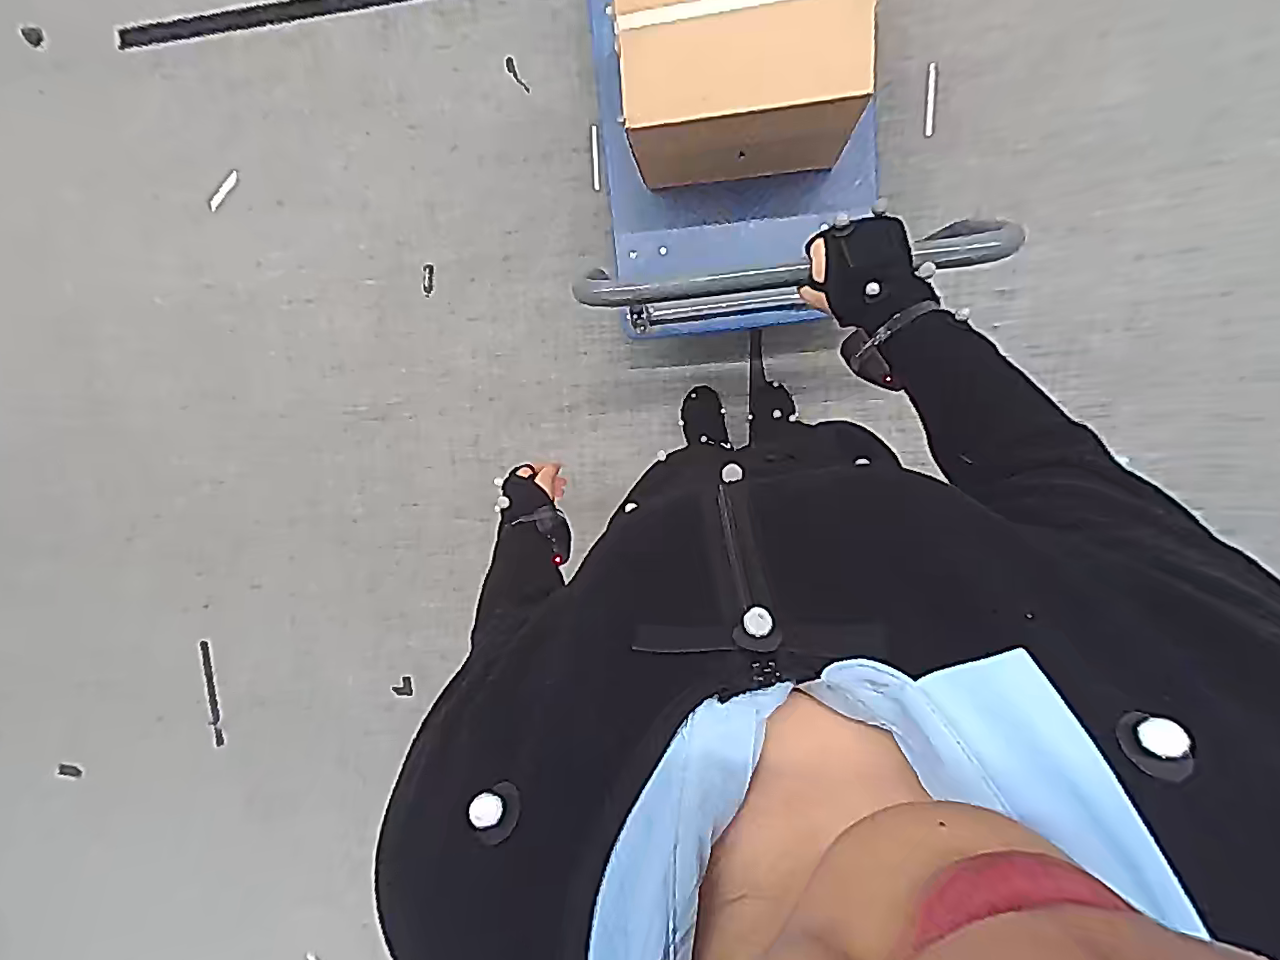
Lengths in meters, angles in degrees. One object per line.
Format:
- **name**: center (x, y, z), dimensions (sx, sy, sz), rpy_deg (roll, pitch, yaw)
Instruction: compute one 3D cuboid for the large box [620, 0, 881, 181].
- **large box**: center (0.191, -0.784, 0.987), dimensions (0.408, 0.320, 0.320), rpy_deg (-2, 100, 10)
